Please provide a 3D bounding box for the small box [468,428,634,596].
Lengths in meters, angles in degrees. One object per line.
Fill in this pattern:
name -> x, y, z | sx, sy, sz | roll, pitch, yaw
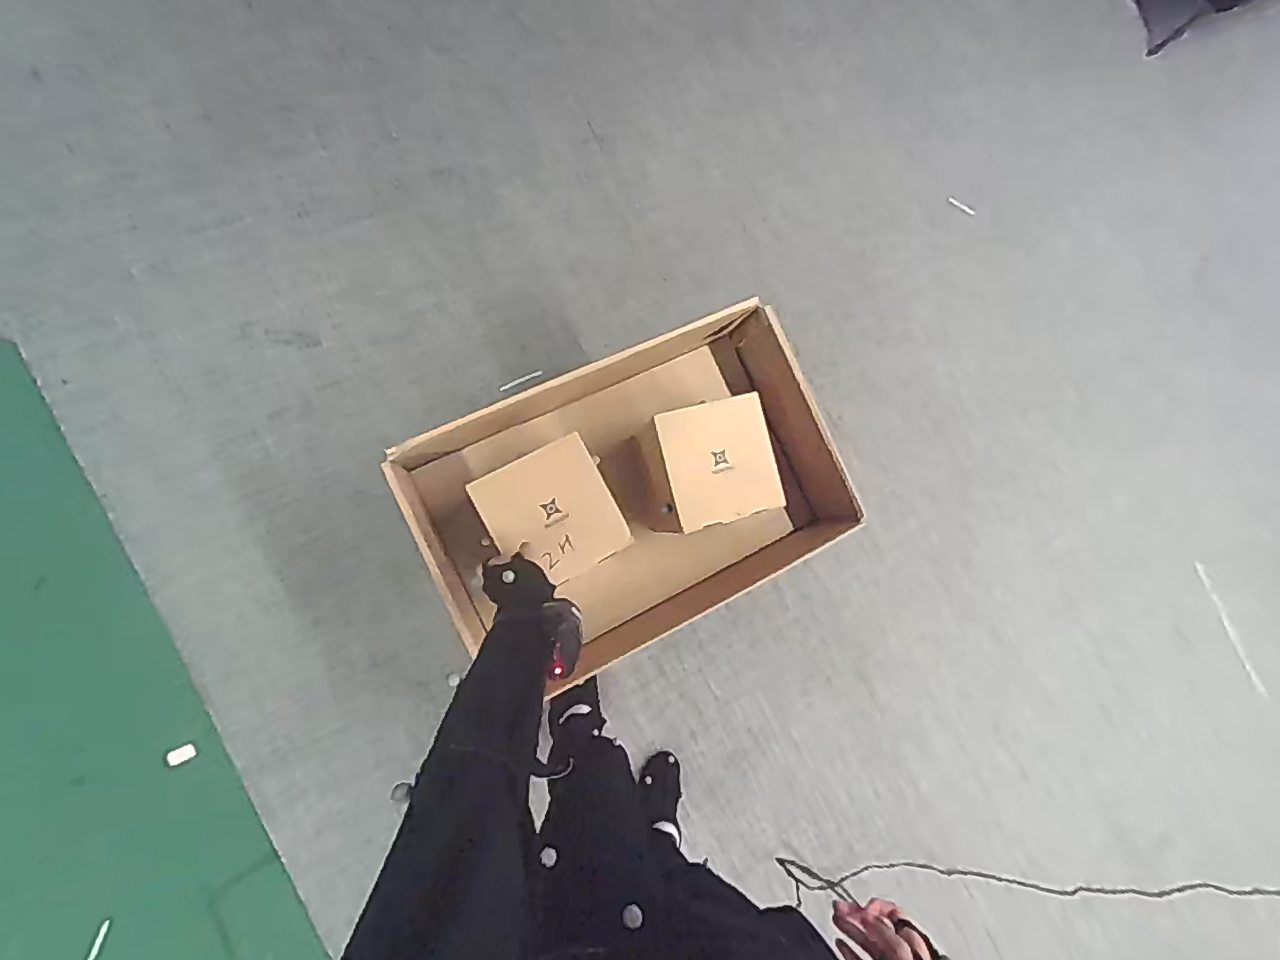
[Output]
small box -> -0.135, 0.048, 0.787 | 0.168, 0.176, 0.179 | -27, 92, -15
